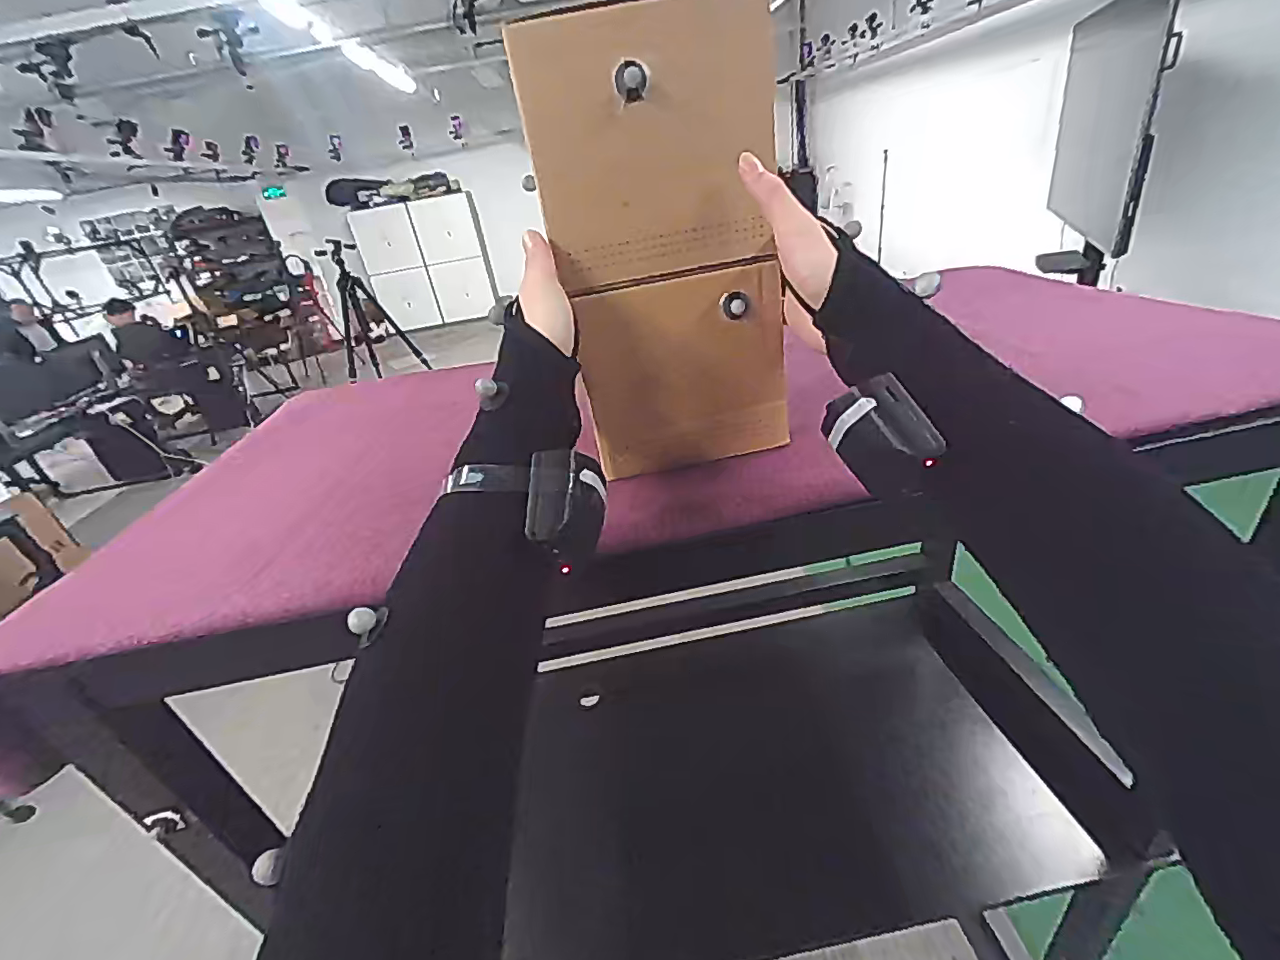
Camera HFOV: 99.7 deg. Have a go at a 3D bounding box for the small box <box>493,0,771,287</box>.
[{"bbox_3d":[-0.002,-0.266,0.445,0.179,0.176,0.168,-11,29,-1],"label":"small box"}]

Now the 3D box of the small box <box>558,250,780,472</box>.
[{"bbox_3d":[0.025,-0.122,0.524,0.179,0.176,0.168,-11,29,-3],"label":"small box"}]
